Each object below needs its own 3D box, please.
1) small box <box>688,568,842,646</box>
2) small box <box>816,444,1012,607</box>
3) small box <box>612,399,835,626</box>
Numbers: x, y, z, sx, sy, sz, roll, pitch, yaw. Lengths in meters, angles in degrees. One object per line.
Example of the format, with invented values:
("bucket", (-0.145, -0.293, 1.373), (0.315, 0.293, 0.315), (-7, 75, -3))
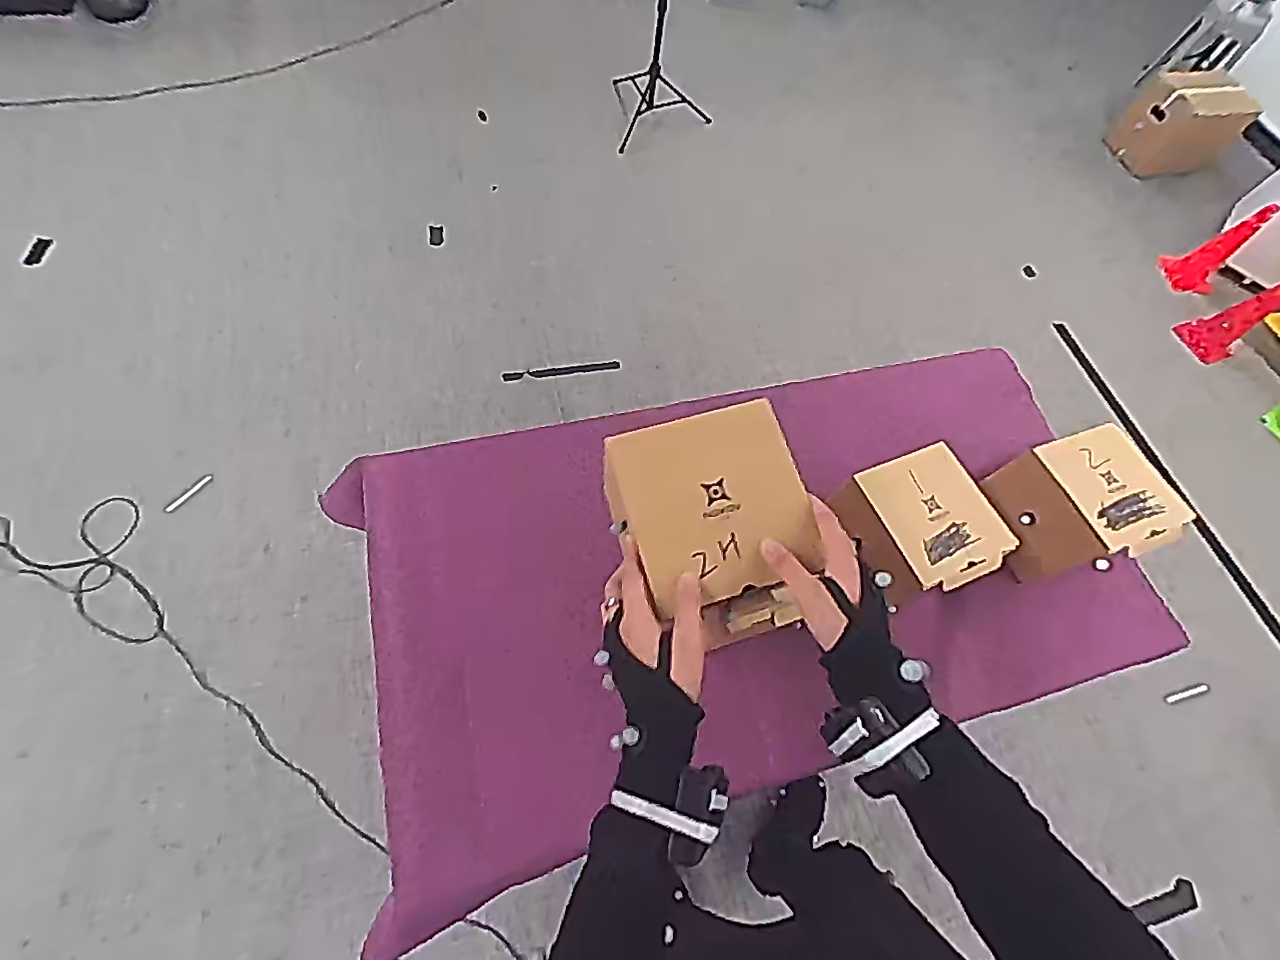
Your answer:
("small box", (0.146, 0.125, 0.765), (0.168, 0.176, 0.179), (-13, 67, -13))
("small box", (0.390, 0.077, 0.813), (0.168, 0.176, 0.179), (-19, 67, -14))
("small box", (0.068, 0.043, 0.568), (0.168, 0.176, 0.179), (-14, 73, -8))
